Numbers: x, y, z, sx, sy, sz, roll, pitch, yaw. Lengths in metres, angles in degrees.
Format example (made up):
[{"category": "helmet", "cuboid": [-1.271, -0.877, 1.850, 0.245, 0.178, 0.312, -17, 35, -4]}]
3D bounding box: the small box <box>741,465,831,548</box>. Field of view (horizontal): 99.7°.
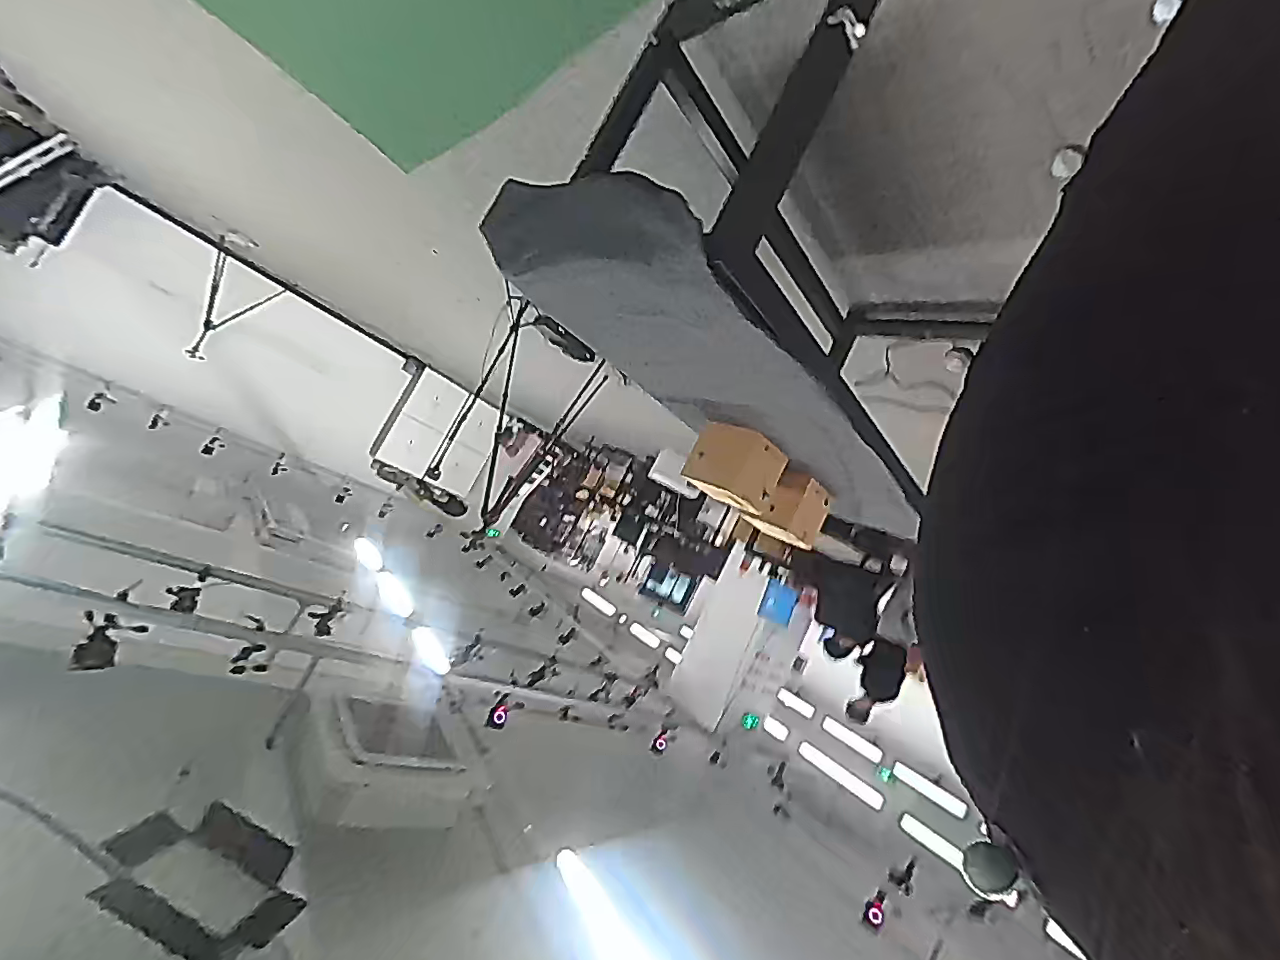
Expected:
[{"category": "small box", "cuboid": [0.432, 0.072, 1.574, 0.179, 0.176, 0.168, 22, 171, 47]}]
